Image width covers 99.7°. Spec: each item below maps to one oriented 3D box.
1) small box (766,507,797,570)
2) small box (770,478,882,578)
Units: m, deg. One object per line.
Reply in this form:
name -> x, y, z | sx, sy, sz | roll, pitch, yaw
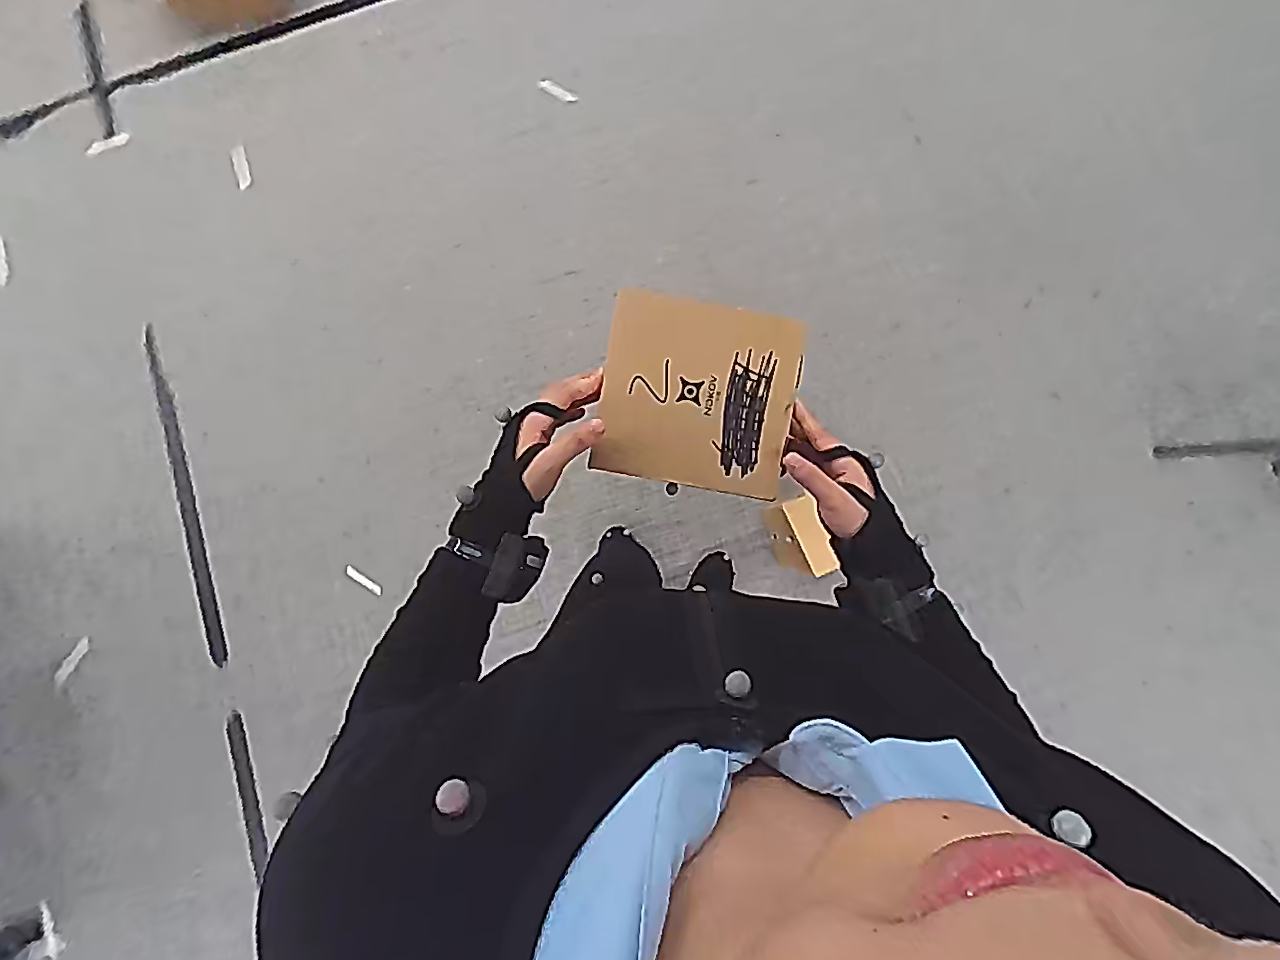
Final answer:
small box -> 0.439, 0.134, 1.414 | 0.179, 0.176, 0.168 | -15, 83, 0
small box -> 0.421, 0.112, 1.253 | 0.168, 0.176, 0.179 | -24, 82, 0
